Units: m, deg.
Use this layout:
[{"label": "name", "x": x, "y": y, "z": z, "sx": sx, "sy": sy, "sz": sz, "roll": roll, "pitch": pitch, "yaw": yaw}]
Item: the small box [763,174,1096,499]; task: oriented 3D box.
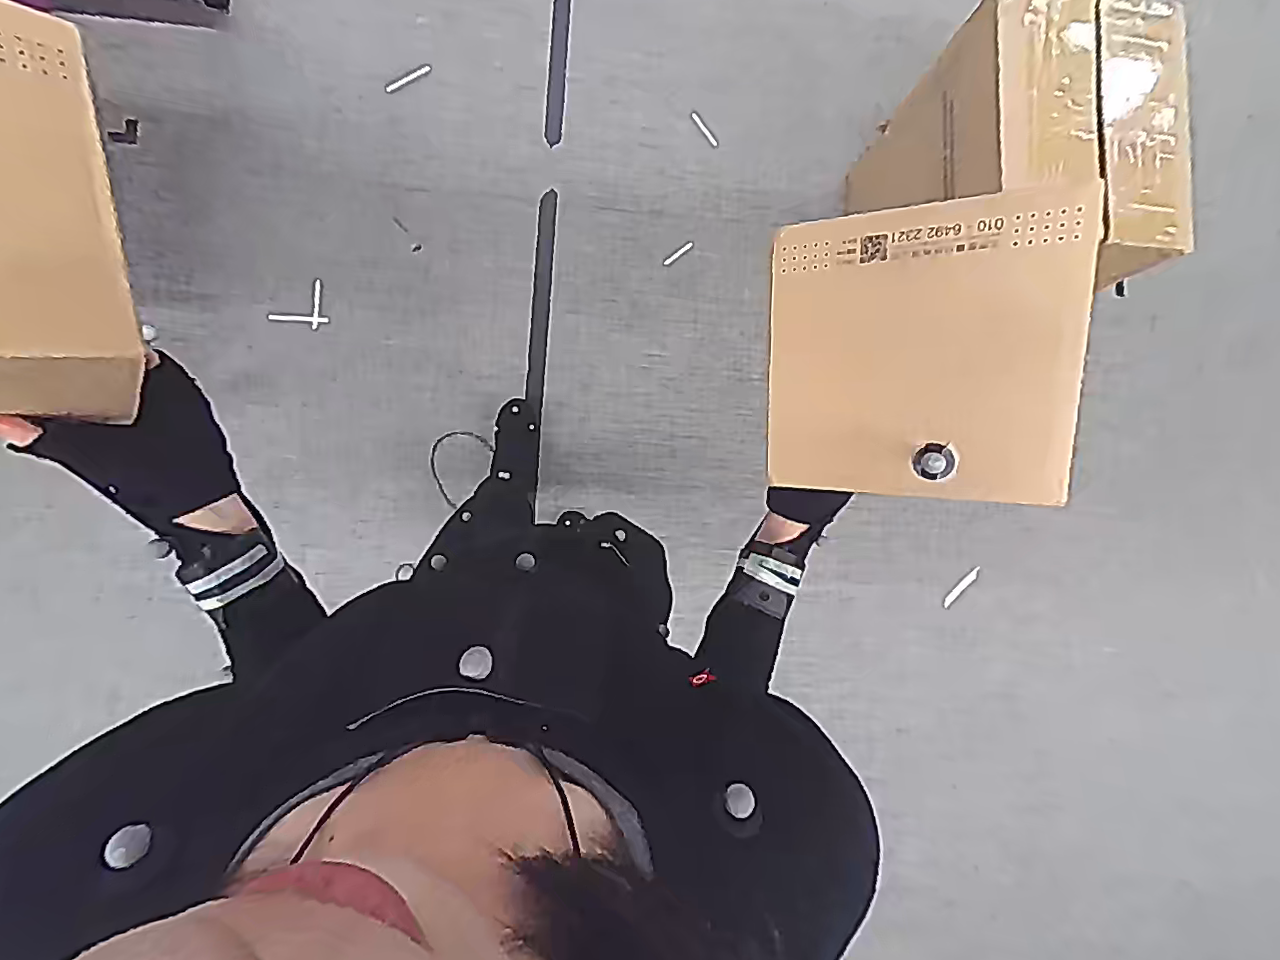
[{"label": "small box", "x": 0.194, "y": -0.093, "z": 0.382, "sx": 0.168, "sy": 0.179, "sz": 0.176, "roll": 5, "pitch": 102, "yaw": 29}]

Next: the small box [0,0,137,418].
[{"label": "small box", "x": -0.371, "y": -0.127, "z": 0.263, "sx": 0.168, "sy": 0.179, "sz": 0.176, "roll": -12, "pitch": 92, "yaw": -43}]
